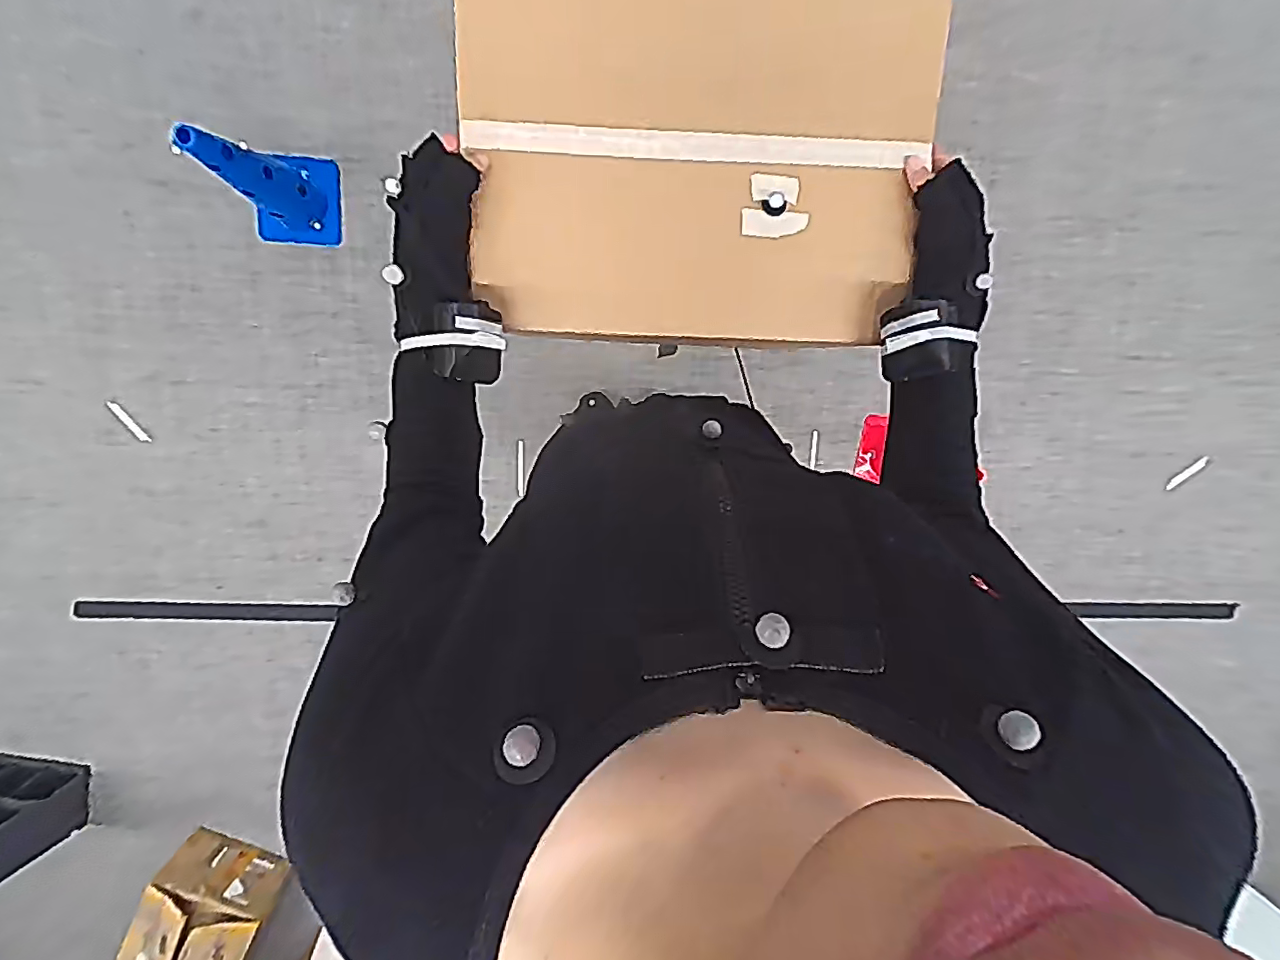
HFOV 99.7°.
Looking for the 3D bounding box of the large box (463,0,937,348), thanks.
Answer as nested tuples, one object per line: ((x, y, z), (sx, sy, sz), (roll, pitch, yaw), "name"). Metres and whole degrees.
((0.043, -0.316, 0.617), (0.408, 0.320, 0.320), (1, 103, -3), "large box")

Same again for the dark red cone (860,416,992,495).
((0.706, -0.035, 1.301), (0.201, 0.394, 0.202), (7, 100, -2), "dark red cone")

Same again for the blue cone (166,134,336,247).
((-0.843, -0.647, 1.171), (0.192, 0.380, 0.193), (5, 100, -2), "blue cone")
